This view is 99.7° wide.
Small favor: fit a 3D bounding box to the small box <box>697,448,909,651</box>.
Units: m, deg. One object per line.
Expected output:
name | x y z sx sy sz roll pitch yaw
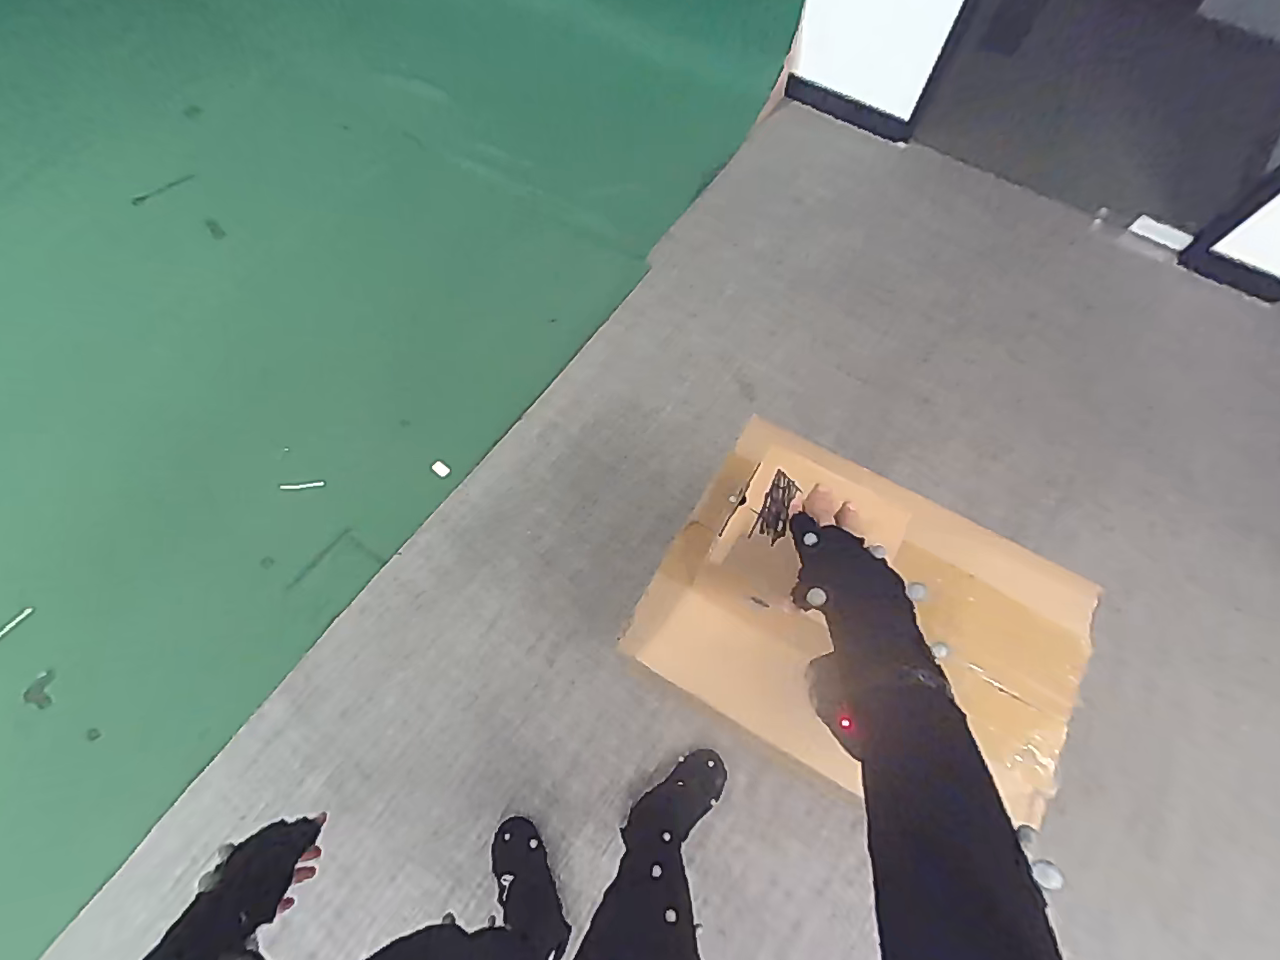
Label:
small box | 0.185 0.095 0.665 0.179 0.176 0.168 28 71 10
